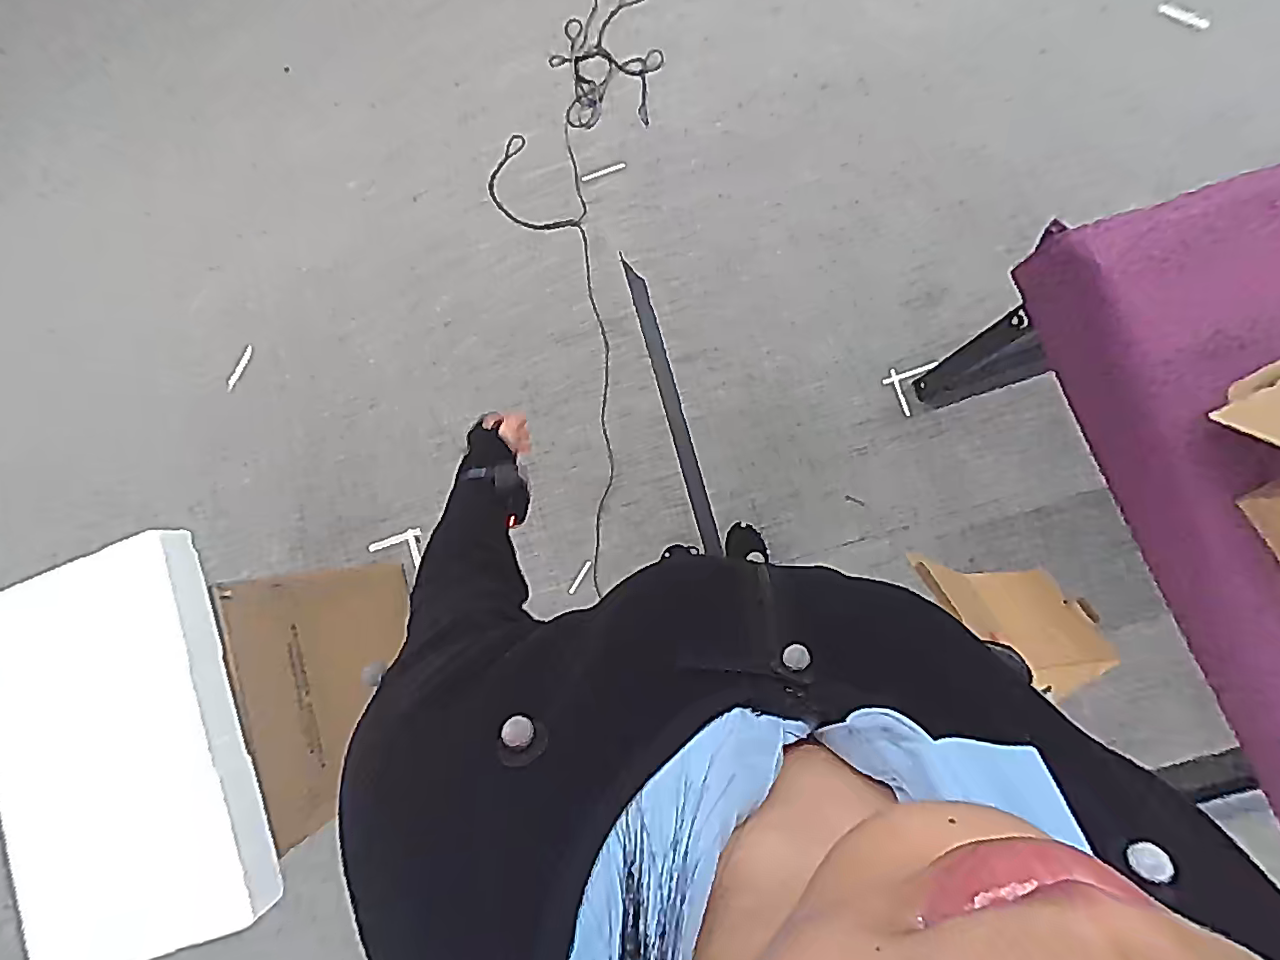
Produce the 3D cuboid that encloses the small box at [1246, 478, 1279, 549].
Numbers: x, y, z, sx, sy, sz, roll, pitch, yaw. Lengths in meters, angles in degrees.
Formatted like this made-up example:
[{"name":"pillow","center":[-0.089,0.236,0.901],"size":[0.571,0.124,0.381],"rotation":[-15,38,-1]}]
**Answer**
[{"name":"small box","center":[0.860,0.049,0.593],"size":[0.168,0.176,0.179],"rotation":[-28,81,4]}]
